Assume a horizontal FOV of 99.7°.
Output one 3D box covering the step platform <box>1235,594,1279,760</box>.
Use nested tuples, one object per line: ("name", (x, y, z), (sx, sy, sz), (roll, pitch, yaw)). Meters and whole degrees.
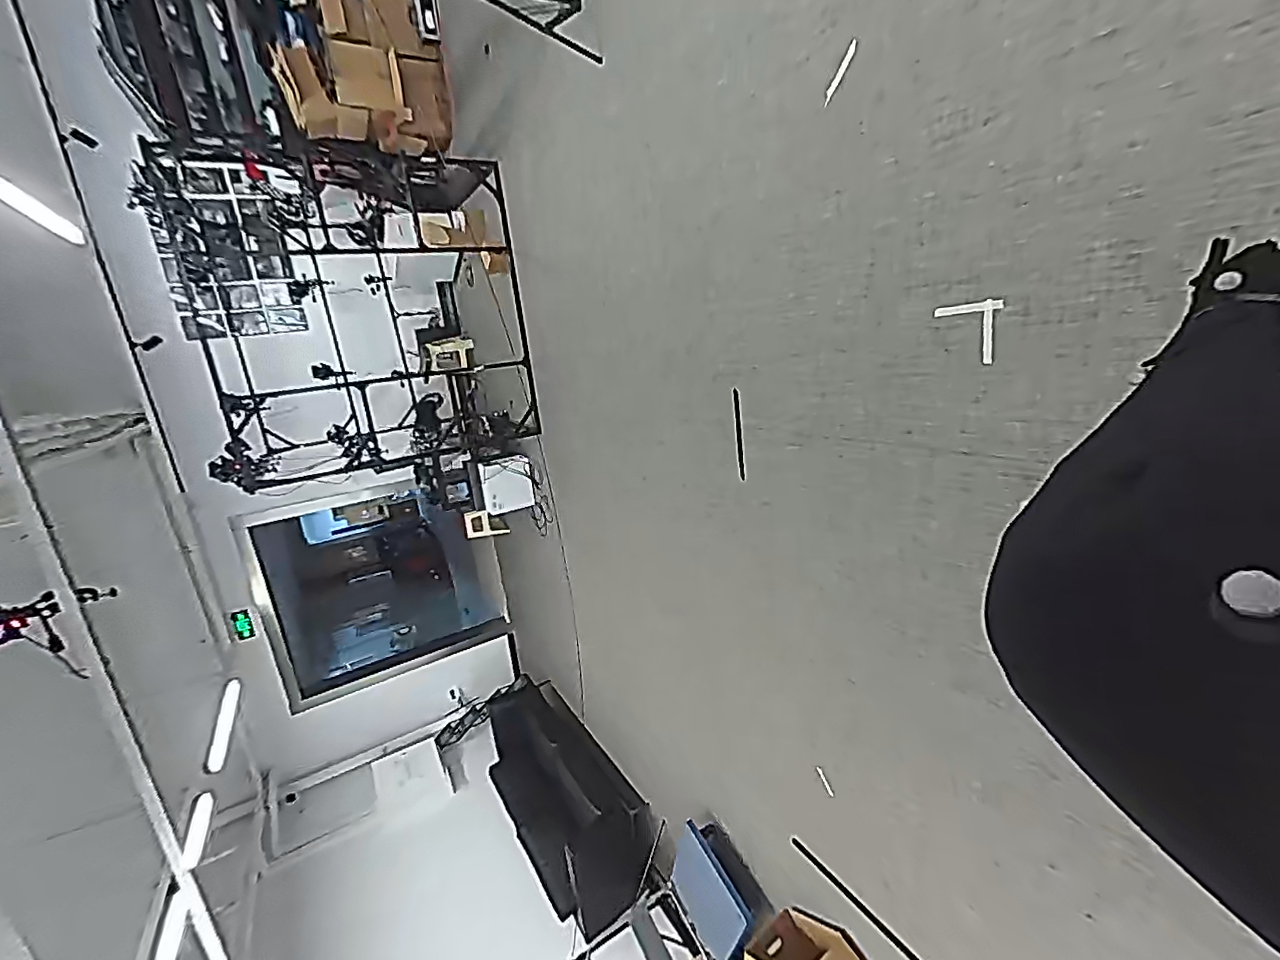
("step platform", (1.327, 0.392, 0.741), (0.684, 0.204, 0.286), (18, 118, 59))
